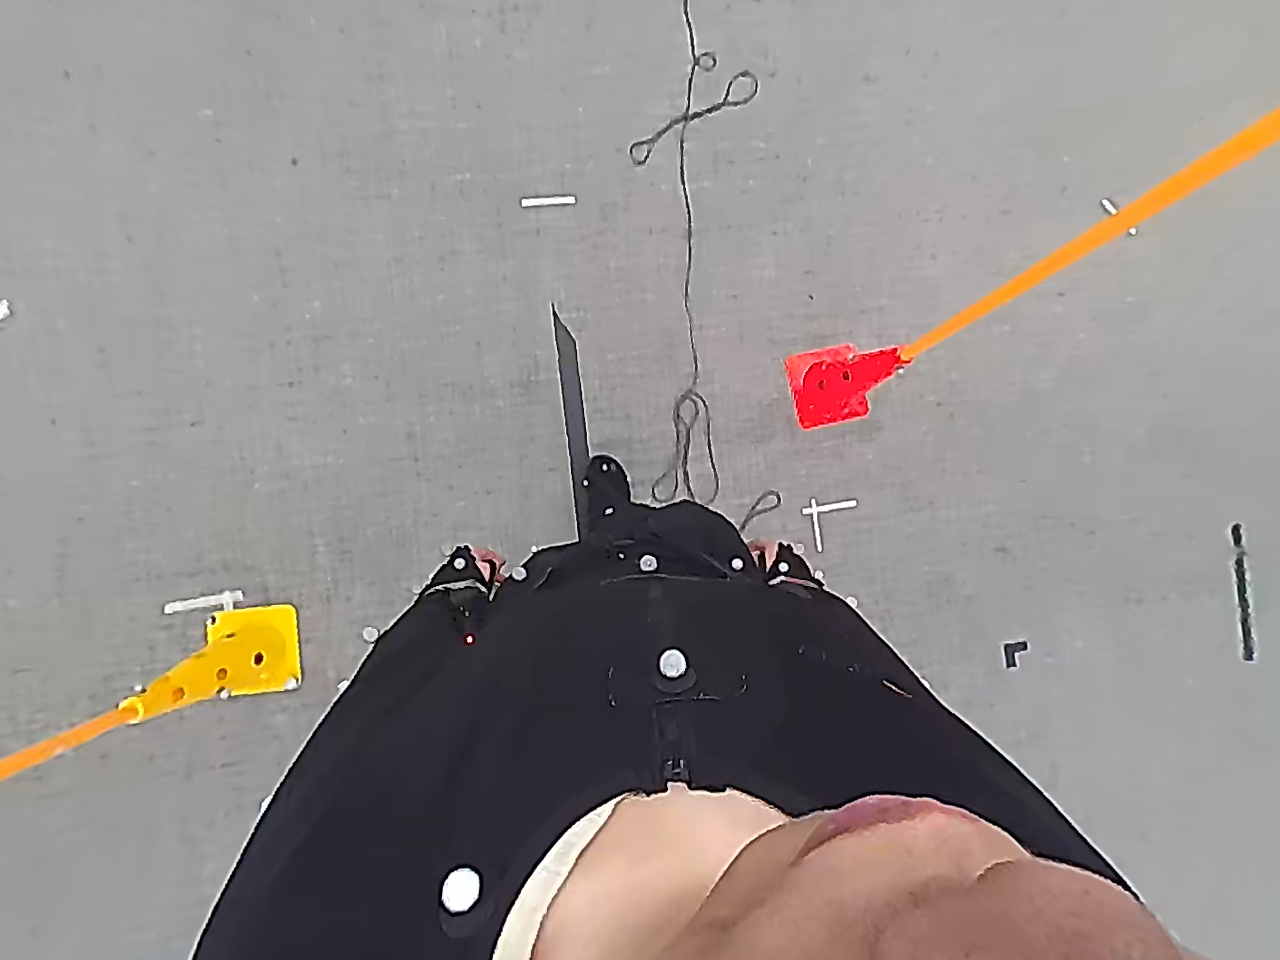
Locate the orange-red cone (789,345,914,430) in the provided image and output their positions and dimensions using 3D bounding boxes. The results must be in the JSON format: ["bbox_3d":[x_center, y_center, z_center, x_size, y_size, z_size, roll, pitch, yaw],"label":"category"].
[{"bbox_3d":[0.515,-0.246,1.255,0.199,0.360,0.198,-12,89,-5],"label":"orange-red cone"}]

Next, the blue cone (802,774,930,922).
[{"bbox_3d":[0.535,0.865,1.241,0.193,0.380,0.192,-4,88,-6],"label":"blue cone"}]
